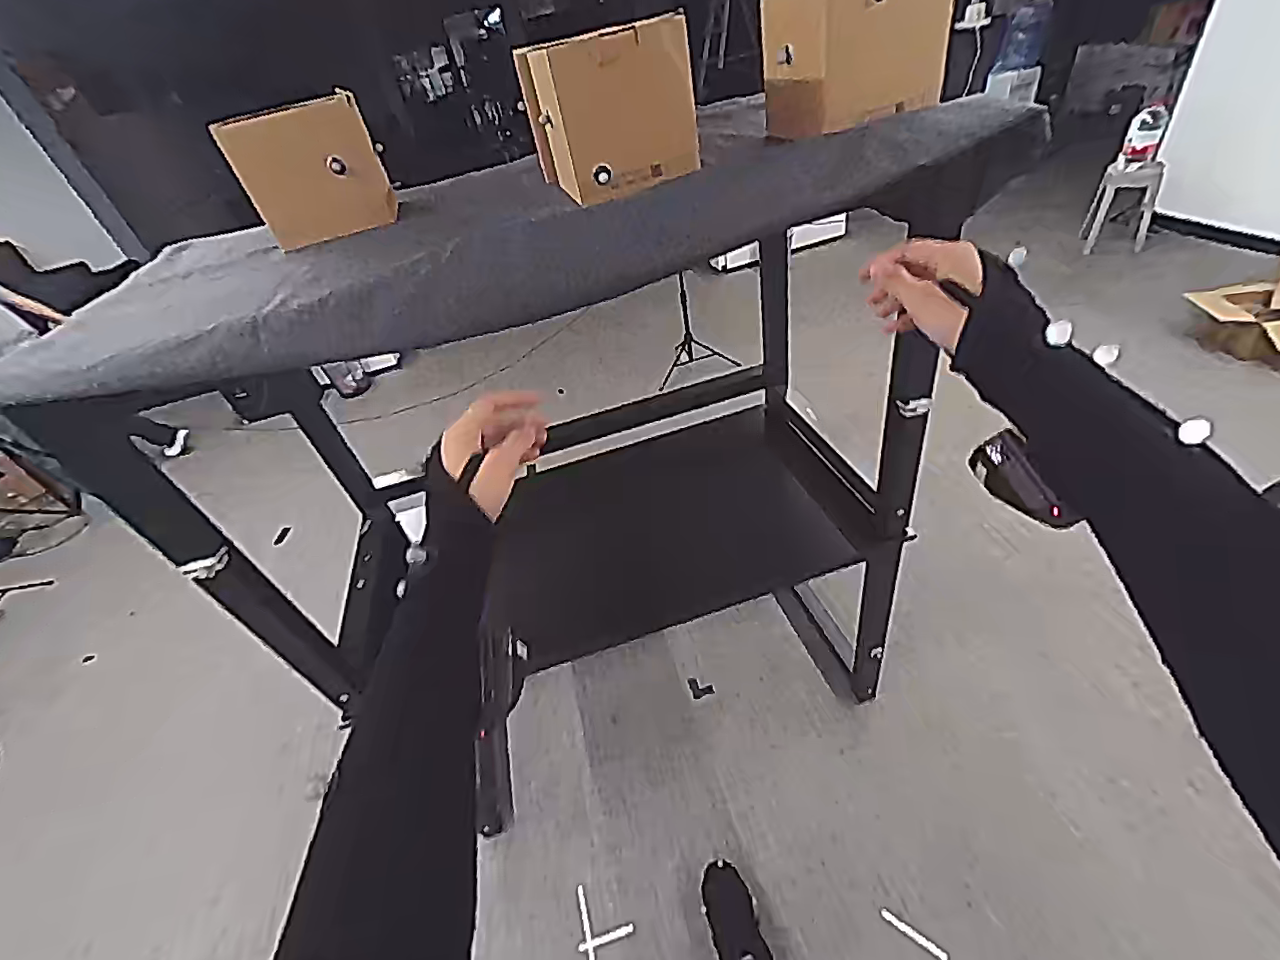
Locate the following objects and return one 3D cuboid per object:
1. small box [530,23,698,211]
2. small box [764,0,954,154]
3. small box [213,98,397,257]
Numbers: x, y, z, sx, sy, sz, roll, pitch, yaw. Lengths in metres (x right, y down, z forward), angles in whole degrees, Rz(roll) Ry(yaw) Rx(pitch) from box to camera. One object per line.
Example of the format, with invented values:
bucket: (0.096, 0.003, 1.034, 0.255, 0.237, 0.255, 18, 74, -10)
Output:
small box: (-0.032, -0.474, 0.716, 0.168, 0.176, 0.179, -19, 39, -7)
small box: (0.278, -0.550, 0.719, 0.168, 0.176, 0.179, -18, 39, -5)
small box: (-0.496, -0.469, 0.837, 0.179, 0.176, 0.168, -19, 40, -8)
